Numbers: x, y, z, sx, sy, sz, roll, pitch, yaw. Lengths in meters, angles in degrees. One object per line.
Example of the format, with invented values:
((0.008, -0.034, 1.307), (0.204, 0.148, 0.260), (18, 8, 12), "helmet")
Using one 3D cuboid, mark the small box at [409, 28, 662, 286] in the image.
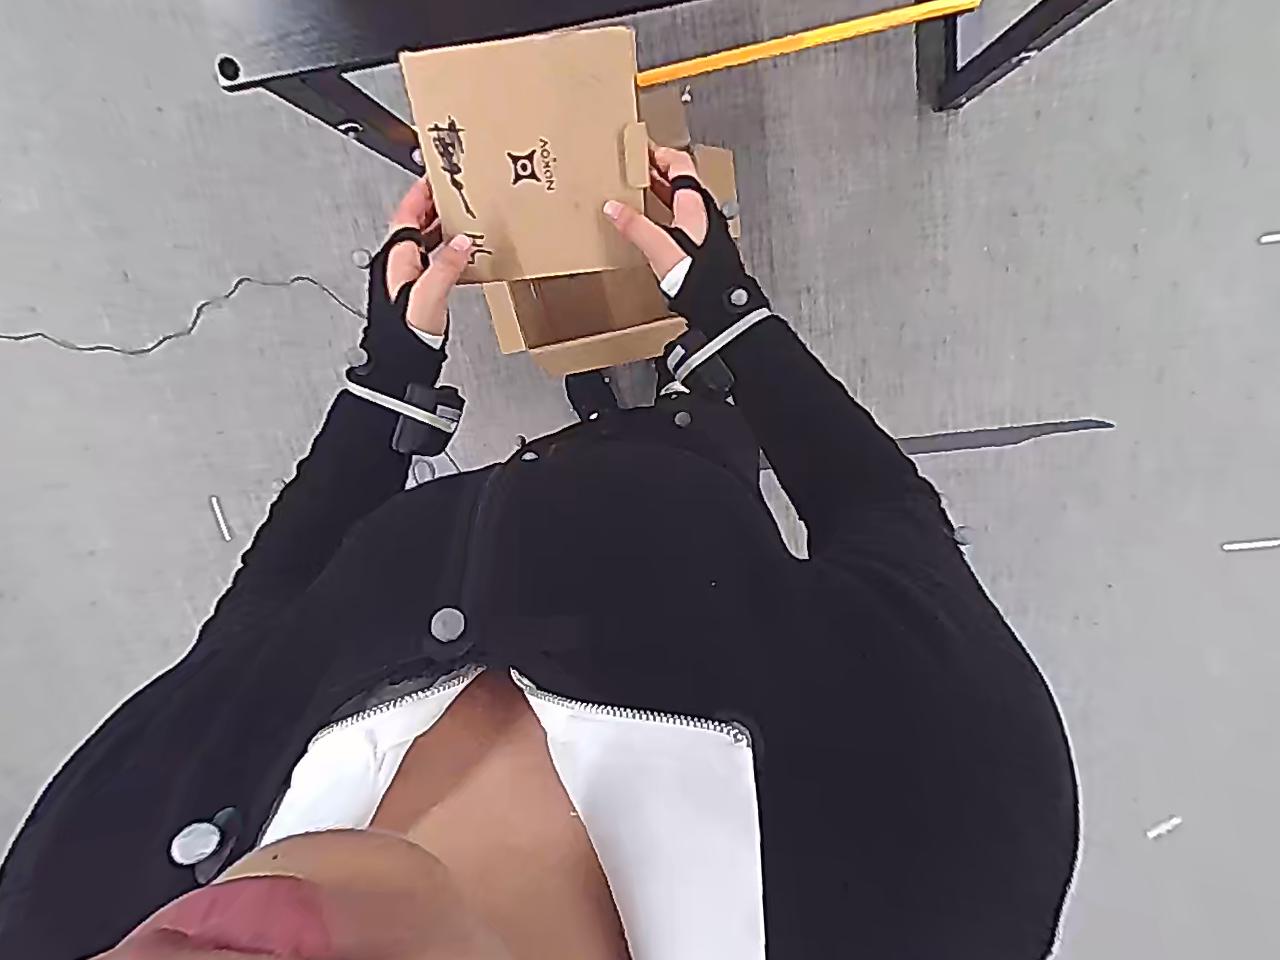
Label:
((-0.078, -0.281, 0.496), (0.179, 0.176, 0.168), (-6, 116, 2), "small box")
